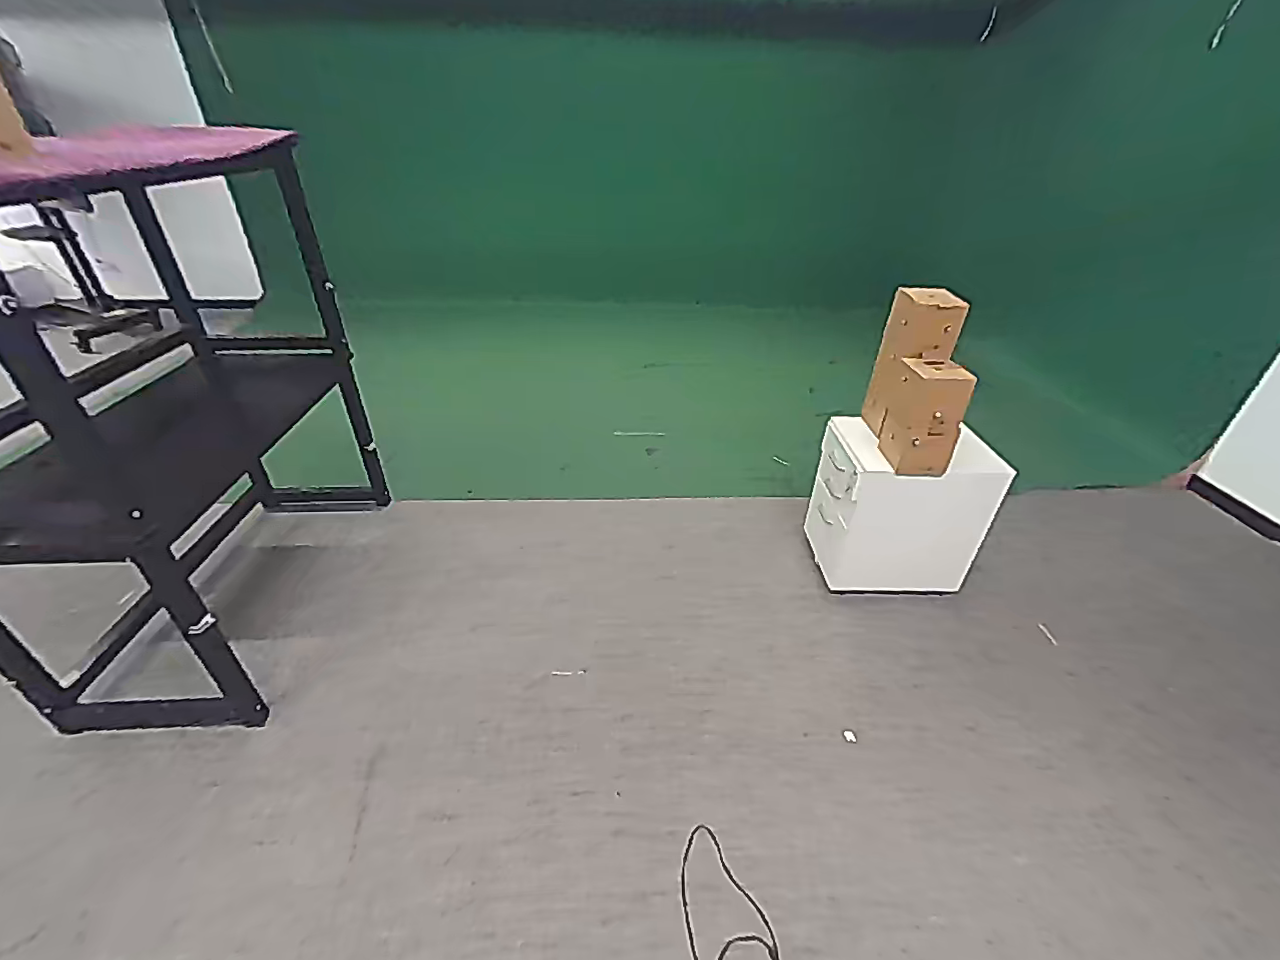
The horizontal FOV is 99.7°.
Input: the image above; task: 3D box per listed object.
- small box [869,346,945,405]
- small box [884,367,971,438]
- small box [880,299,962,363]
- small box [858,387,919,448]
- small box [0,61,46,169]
[{"bbox_3d":[0.942,-0.371,1.929,0.168,0.176,0.179,2,35,-1],"label":"small box"},{"bbox_3d":[0.912,-0.251,1.738,0.168,0.176,0.179,1,32,-2],"label":"small box"},{"bbox_3d":[0.946,-0.504,1.837,0.168,0.176,0.179,2,34,-3],"label":"small box"},{"bbox_3d":[0.940,-0.234,2.020,0.168,0.176,0.179,0,34,-2],"label":"small box"},{"bbox_3d":[-1.222,-0.636,0.938,0.179,0.176,0.168,-1,32,-4],"label":"small box"}]
